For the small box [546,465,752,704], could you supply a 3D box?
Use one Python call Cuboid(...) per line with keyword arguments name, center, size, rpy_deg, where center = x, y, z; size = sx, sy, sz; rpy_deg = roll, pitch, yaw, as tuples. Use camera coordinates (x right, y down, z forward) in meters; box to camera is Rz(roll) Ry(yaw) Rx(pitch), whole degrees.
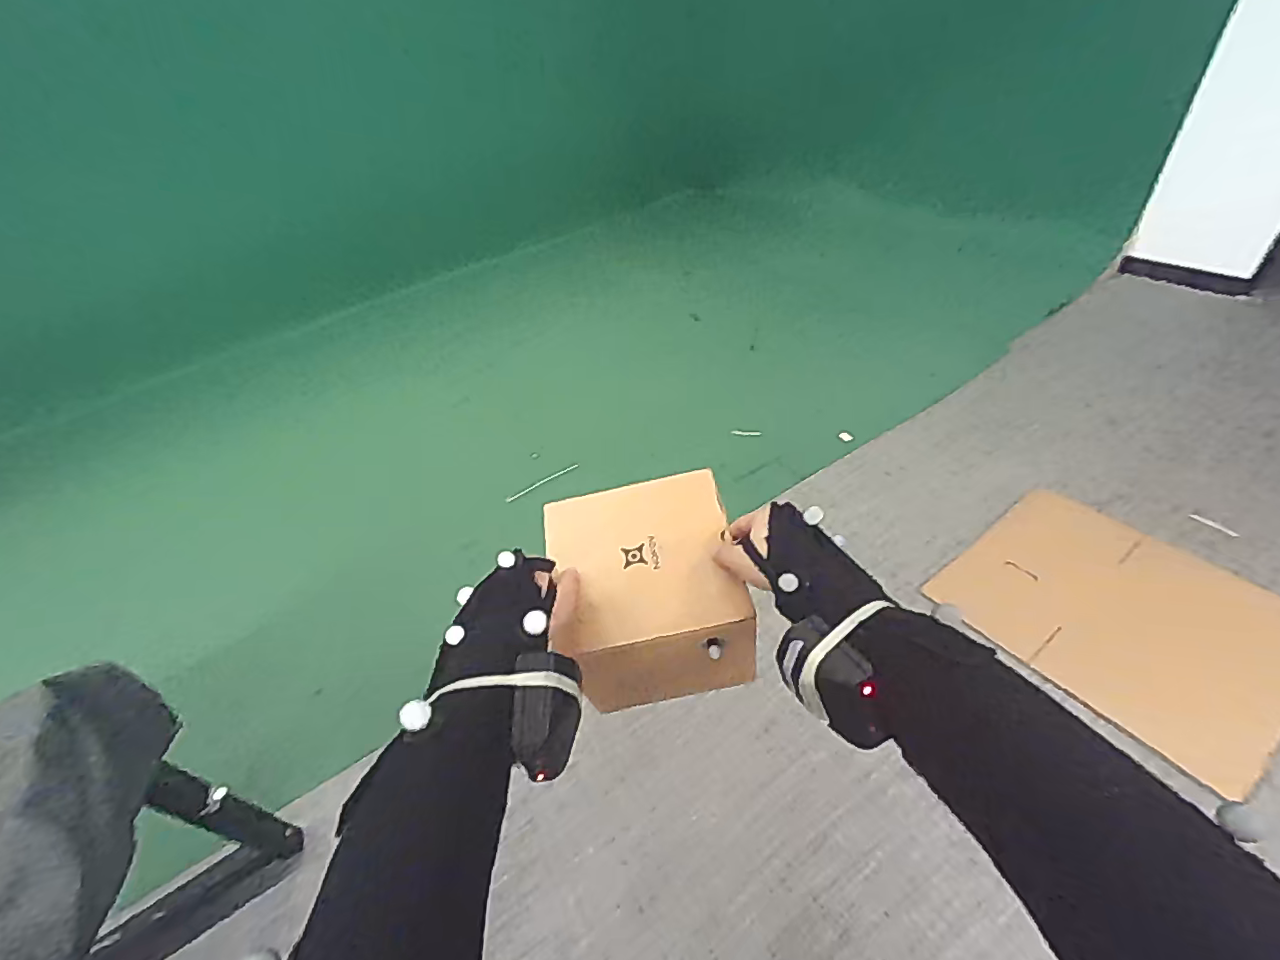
Cuboid(name="small box", center=(0.012, 0.114, 0.559), size=(0.179, 0.176, 0.168), rpy_deg=(-12, 51, 1))
